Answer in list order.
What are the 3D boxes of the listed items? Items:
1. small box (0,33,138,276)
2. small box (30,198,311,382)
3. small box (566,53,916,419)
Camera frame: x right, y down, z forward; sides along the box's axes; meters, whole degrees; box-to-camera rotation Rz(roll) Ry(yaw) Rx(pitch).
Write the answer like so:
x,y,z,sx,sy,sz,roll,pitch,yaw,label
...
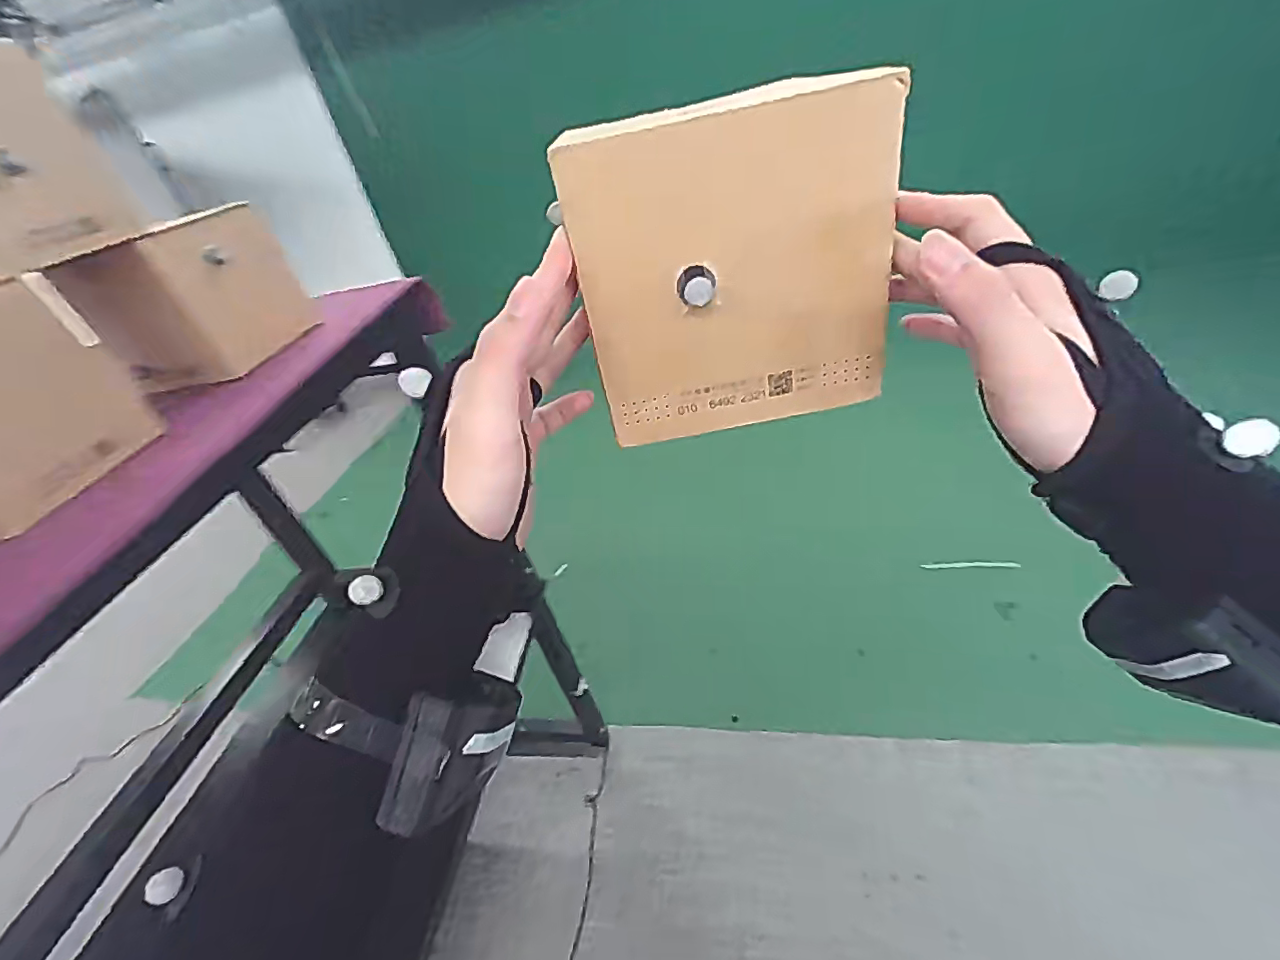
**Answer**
x,y,z,sx,sy,sz,roll,pitch,yaw,label
-0.631,-0.272,0.485,0.179,0.176,0.168,-7,37,13,small box
-0.574,-0.236,0.693,0.168,0.176,0.179,-5,38,14,small box
0.056,-0.151,0.356,0.168,0.176,0.179,-11,34,3,small box
